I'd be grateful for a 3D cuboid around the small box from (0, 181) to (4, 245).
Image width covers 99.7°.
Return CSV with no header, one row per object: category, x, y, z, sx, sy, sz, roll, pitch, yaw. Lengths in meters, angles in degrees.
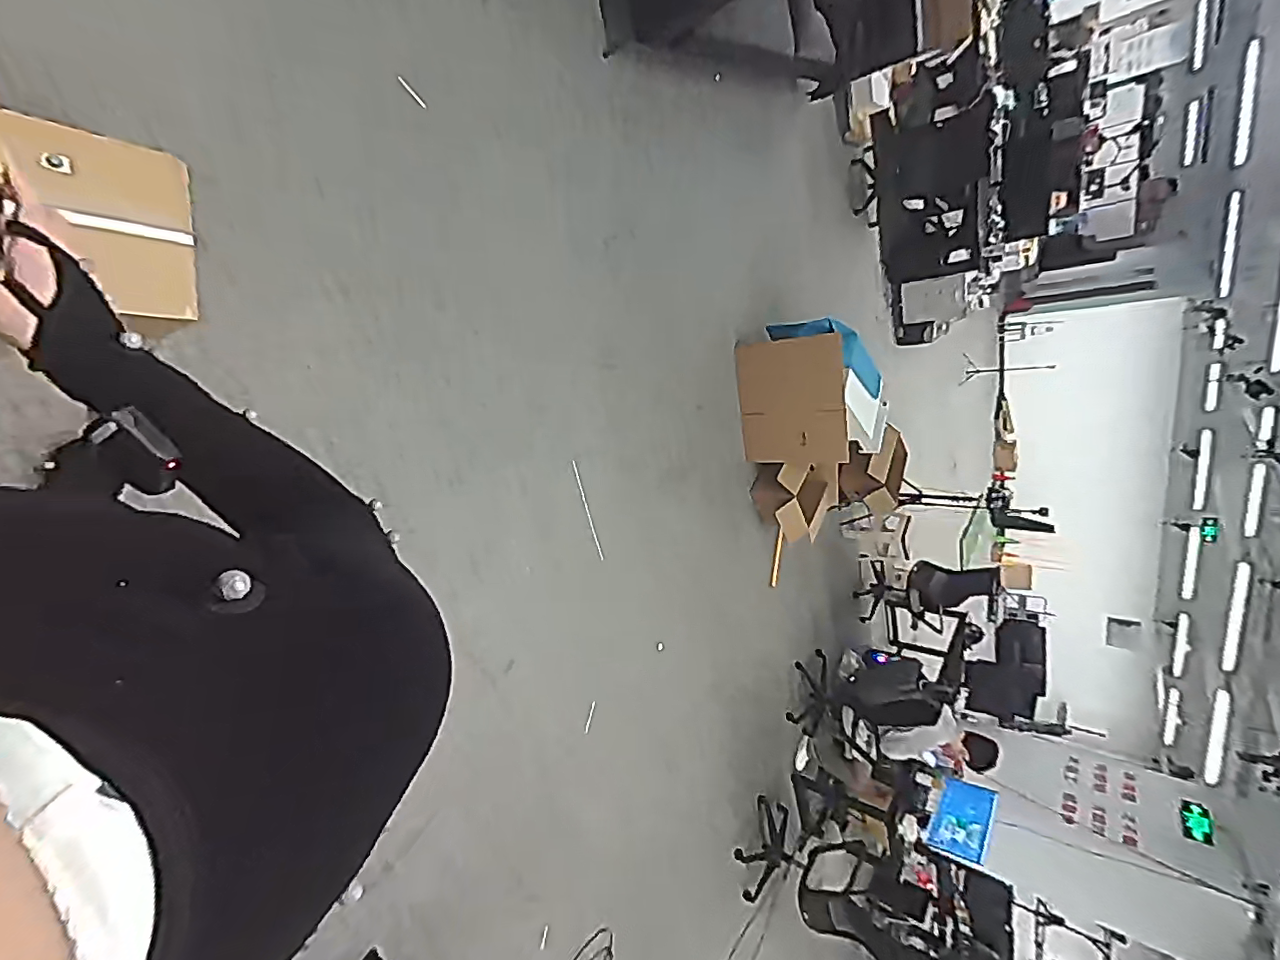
small box,-0.602,-0.291,0.392,0.168,0.176,0.179,-12,91,-50
